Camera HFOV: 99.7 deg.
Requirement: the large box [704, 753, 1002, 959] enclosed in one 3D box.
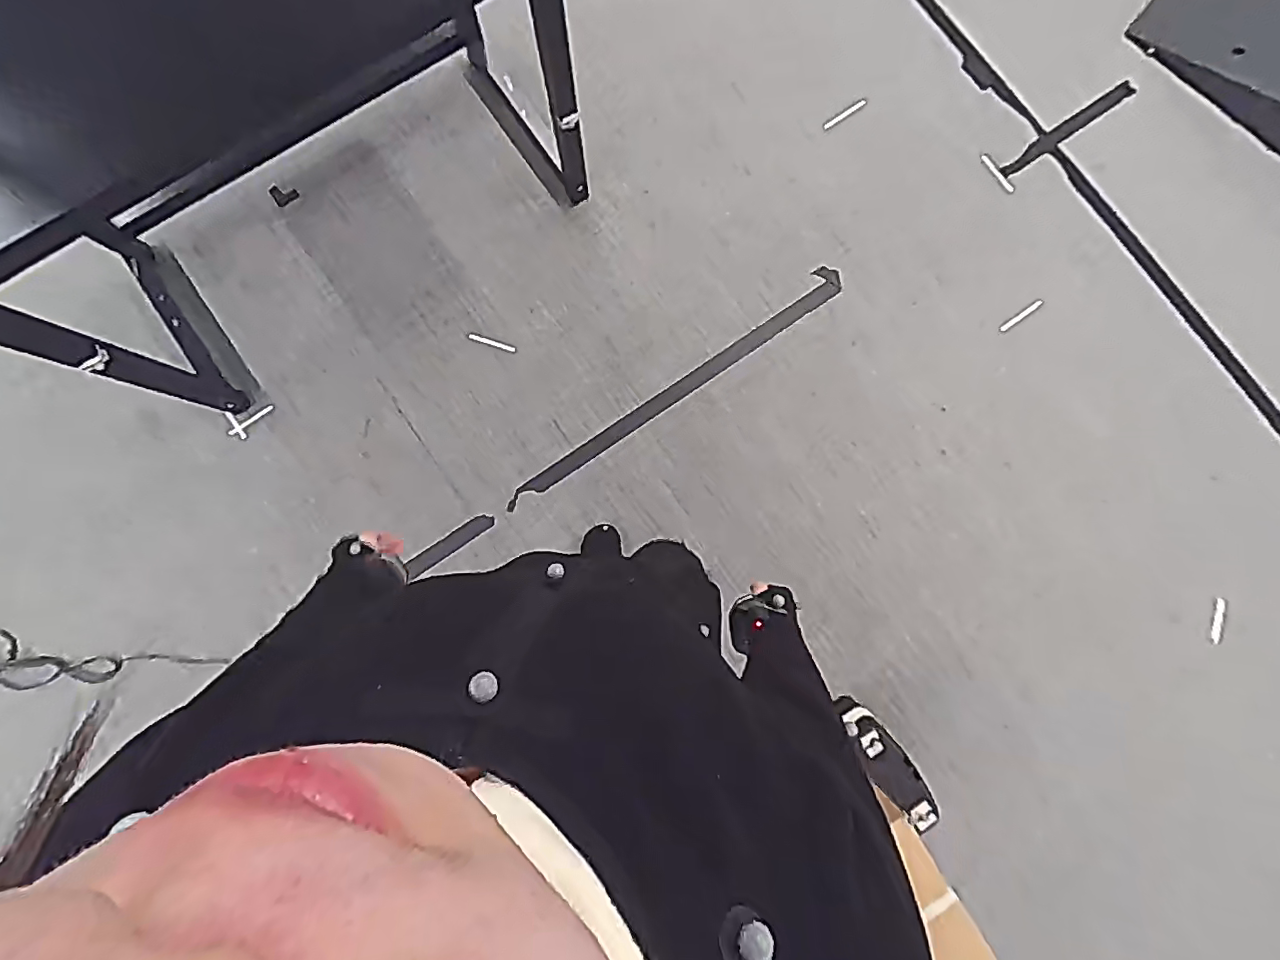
[{"bbox_3d":[0.394,0.851,1.100,0.408,0.320,0.320,-31,86,-5],"label":"large box"}]
